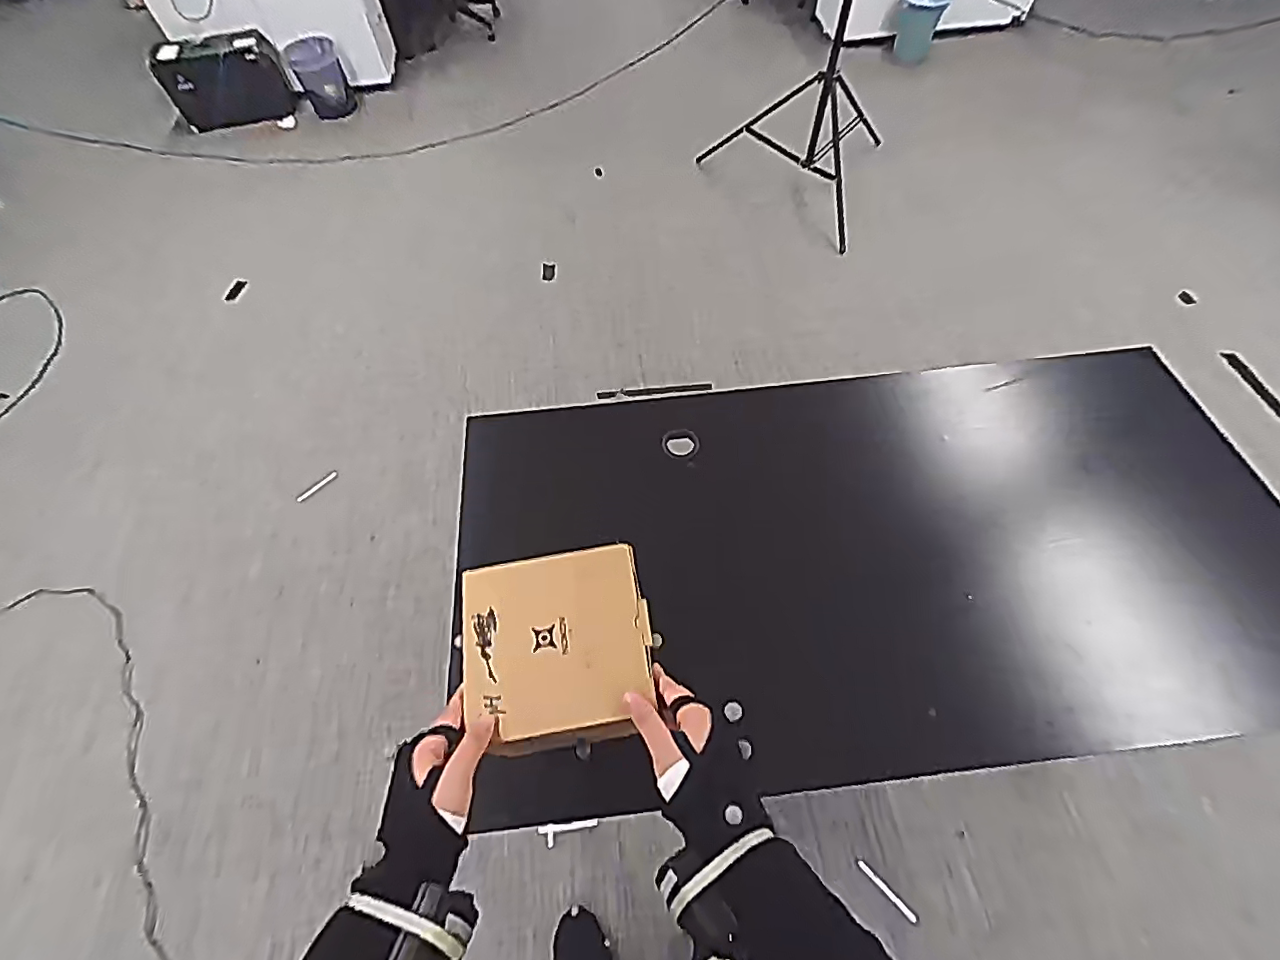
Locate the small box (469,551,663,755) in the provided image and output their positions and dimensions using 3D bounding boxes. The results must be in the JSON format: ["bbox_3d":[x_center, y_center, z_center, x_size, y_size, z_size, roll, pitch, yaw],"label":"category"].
[{"bbox_3d":[-0.076,0.193,0.587,0.179,0.176,0.168,-9,61,-3],"label":"small box"}]
